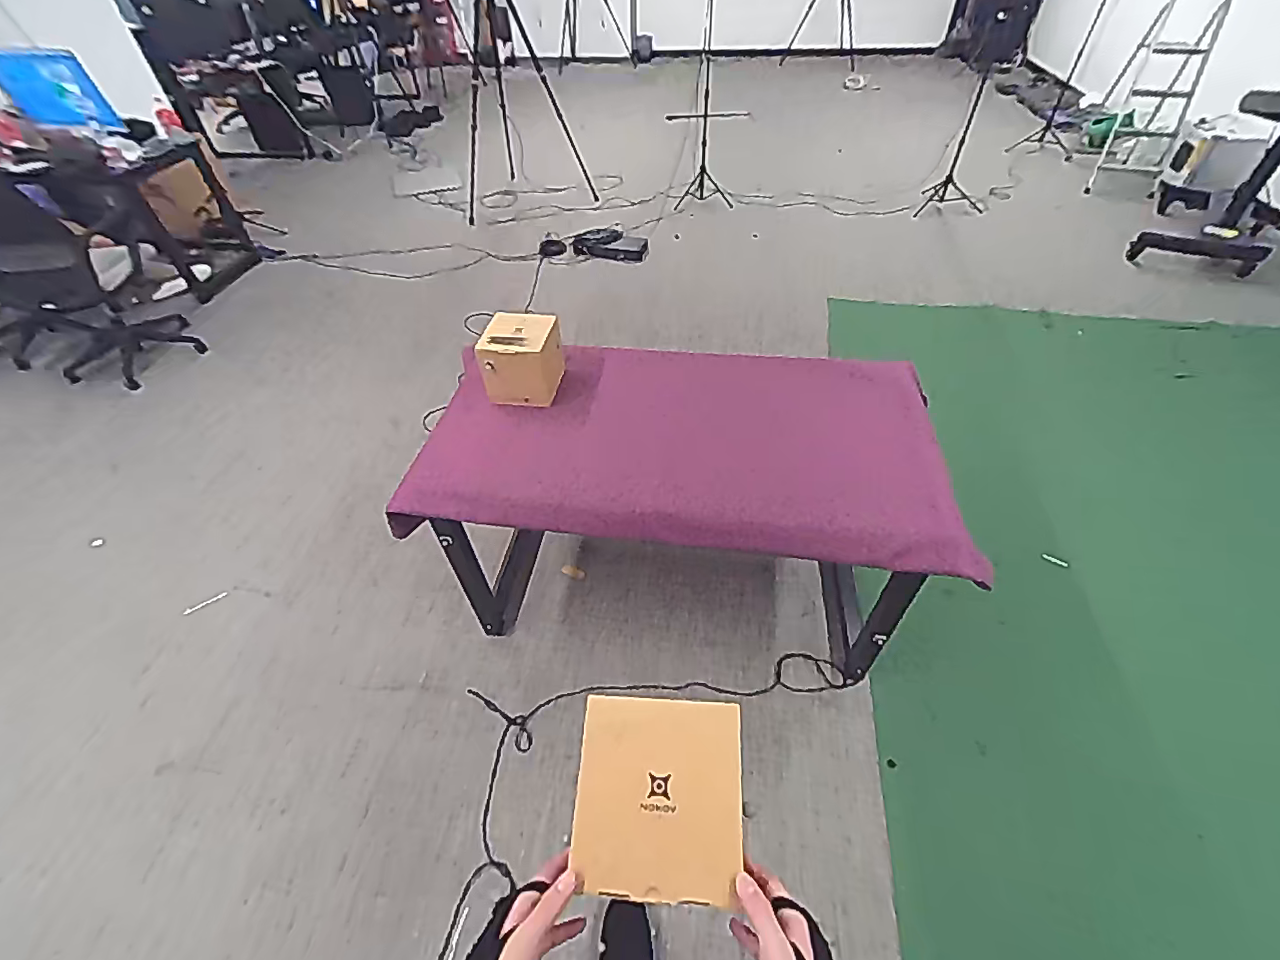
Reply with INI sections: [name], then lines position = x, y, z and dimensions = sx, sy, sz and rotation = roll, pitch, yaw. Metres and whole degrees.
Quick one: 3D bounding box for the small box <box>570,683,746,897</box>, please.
[small box]
position = 0.026, 0.339, 0.606
dimensions = 0.168, 0.176, 0.179
rotation = 2, 60, 5
